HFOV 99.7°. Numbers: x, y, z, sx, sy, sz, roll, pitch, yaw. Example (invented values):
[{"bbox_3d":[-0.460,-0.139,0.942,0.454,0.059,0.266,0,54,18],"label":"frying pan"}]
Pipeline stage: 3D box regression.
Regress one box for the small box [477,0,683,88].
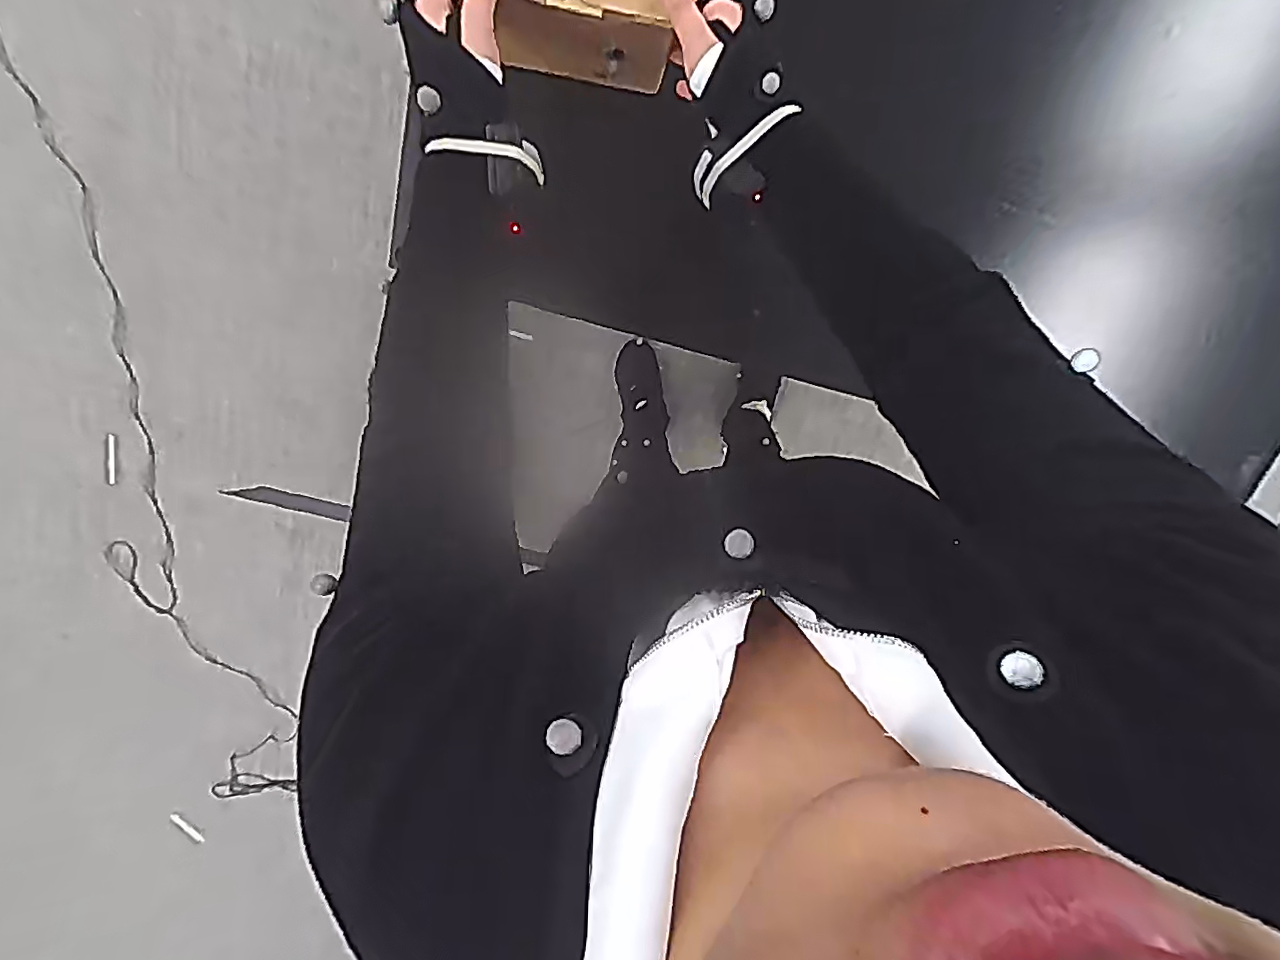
[{"bbox_3d":[-0.043,-0.470,0.460,0.168,0.176,0.179,6,108,-8],"label":"small box"}]
